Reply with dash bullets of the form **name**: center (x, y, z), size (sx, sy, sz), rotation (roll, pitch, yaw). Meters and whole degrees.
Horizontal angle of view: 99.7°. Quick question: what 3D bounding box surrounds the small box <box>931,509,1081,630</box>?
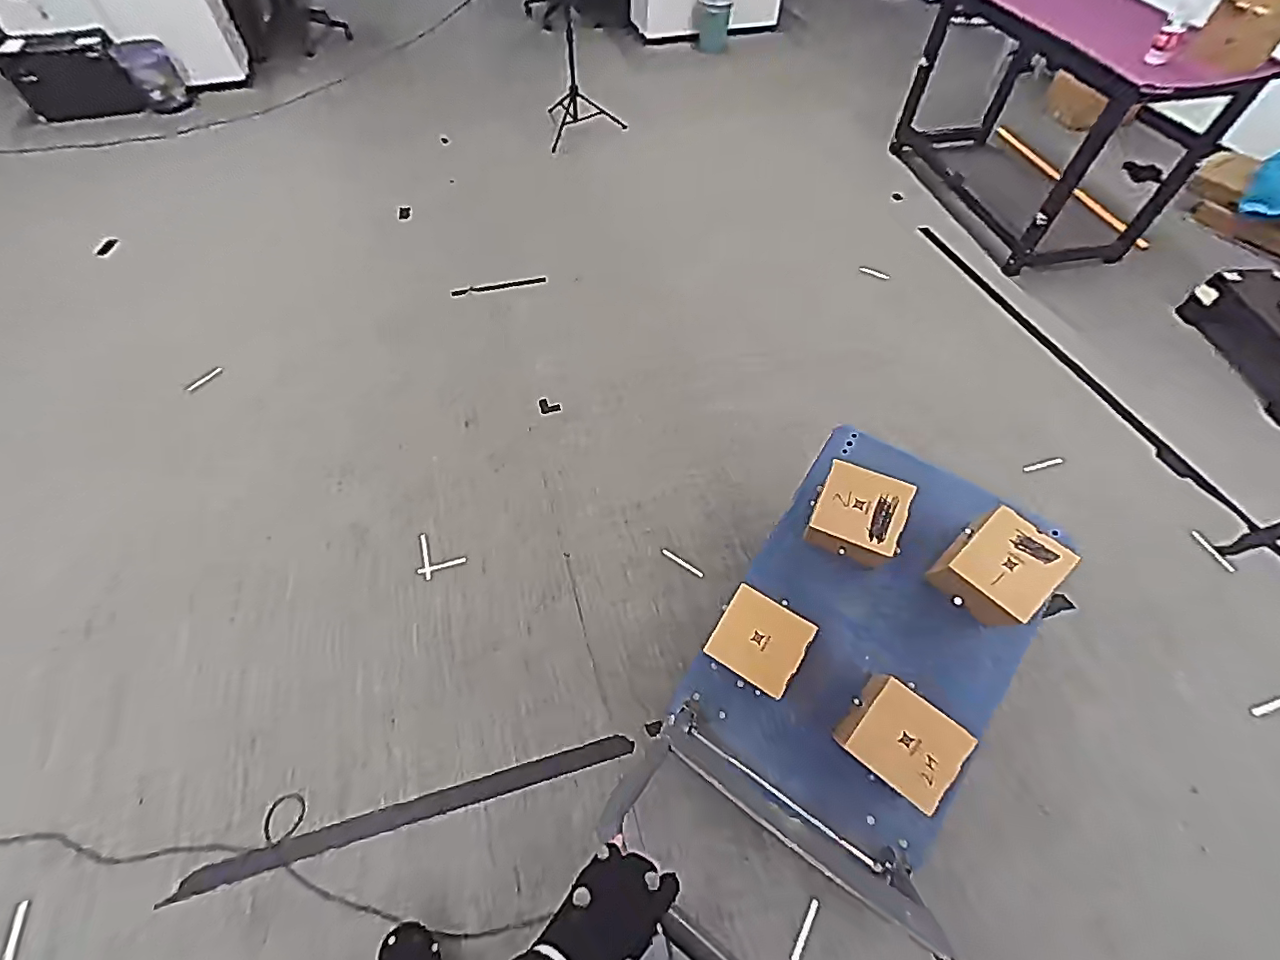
- **small box**: center (0.746, 0.192, 1.127), size (0.179, 0.176, 0.168), rotation (-45, 70, -5)

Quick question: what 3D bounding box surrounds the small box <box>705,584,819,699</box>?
- **small box**: center (0.258, 0.349, 1.169), size (0.179, 0.176, 0.168), rotation (30, 80, 17)

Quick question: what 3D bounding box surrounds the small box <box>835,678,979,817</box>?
- **small box**: center (0.510, 0.513, 1.065), size (0.179, 0.176, 0.168), rotation (37, 82, 20)
